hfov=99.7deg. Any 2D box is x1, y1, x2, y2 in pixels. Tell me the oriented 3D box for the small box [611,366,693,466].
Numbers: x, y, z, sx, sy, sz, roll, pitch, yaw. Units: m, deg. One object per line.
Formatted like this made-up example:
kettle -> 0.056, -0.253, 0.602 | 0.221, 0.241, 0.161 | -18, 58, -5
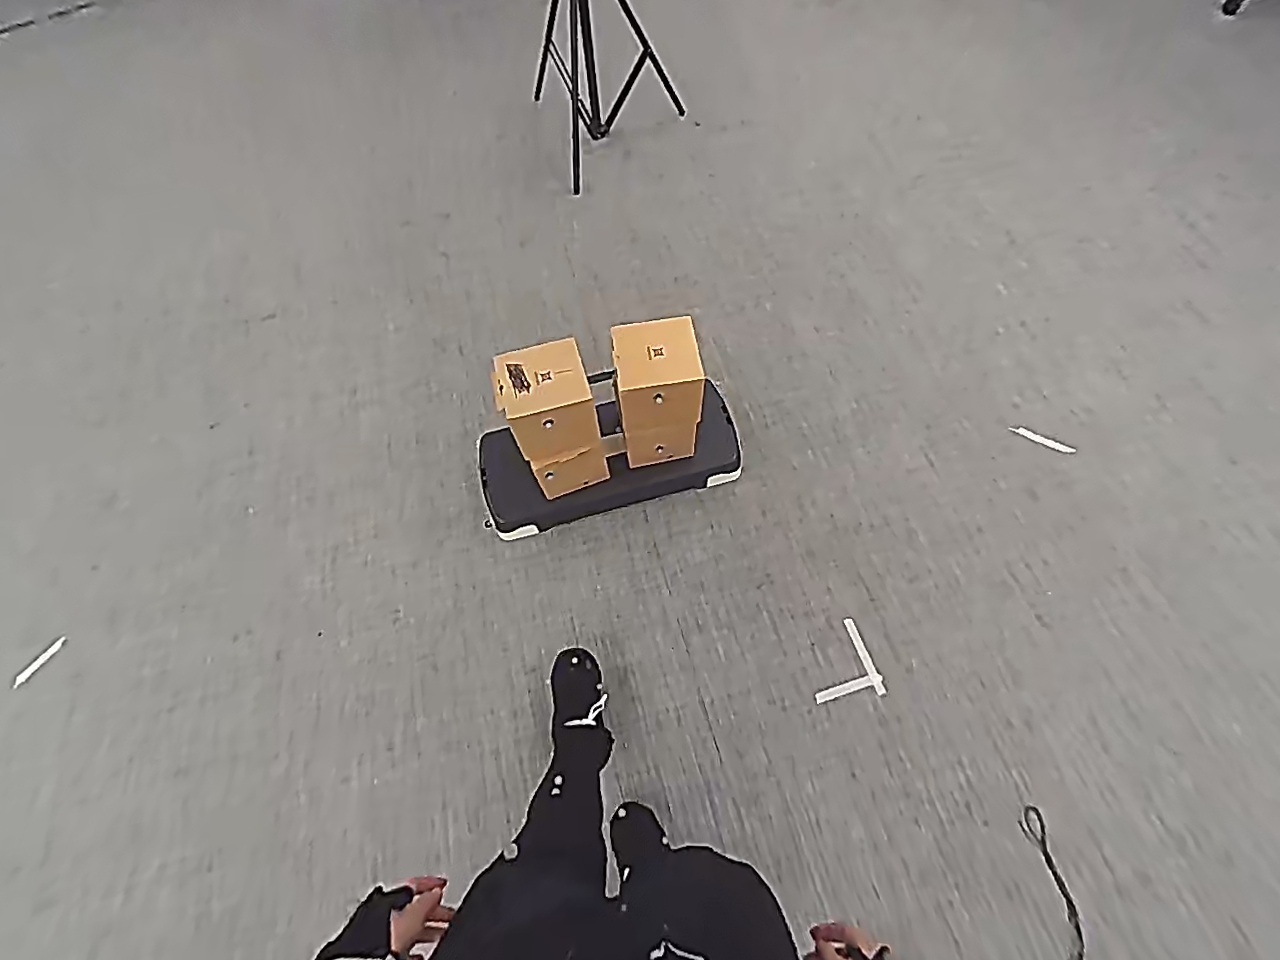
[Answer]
small box -> 0.031, -0.148, 1.324 | 0.168, 0.176, 0.179 | -11, 65, -2
